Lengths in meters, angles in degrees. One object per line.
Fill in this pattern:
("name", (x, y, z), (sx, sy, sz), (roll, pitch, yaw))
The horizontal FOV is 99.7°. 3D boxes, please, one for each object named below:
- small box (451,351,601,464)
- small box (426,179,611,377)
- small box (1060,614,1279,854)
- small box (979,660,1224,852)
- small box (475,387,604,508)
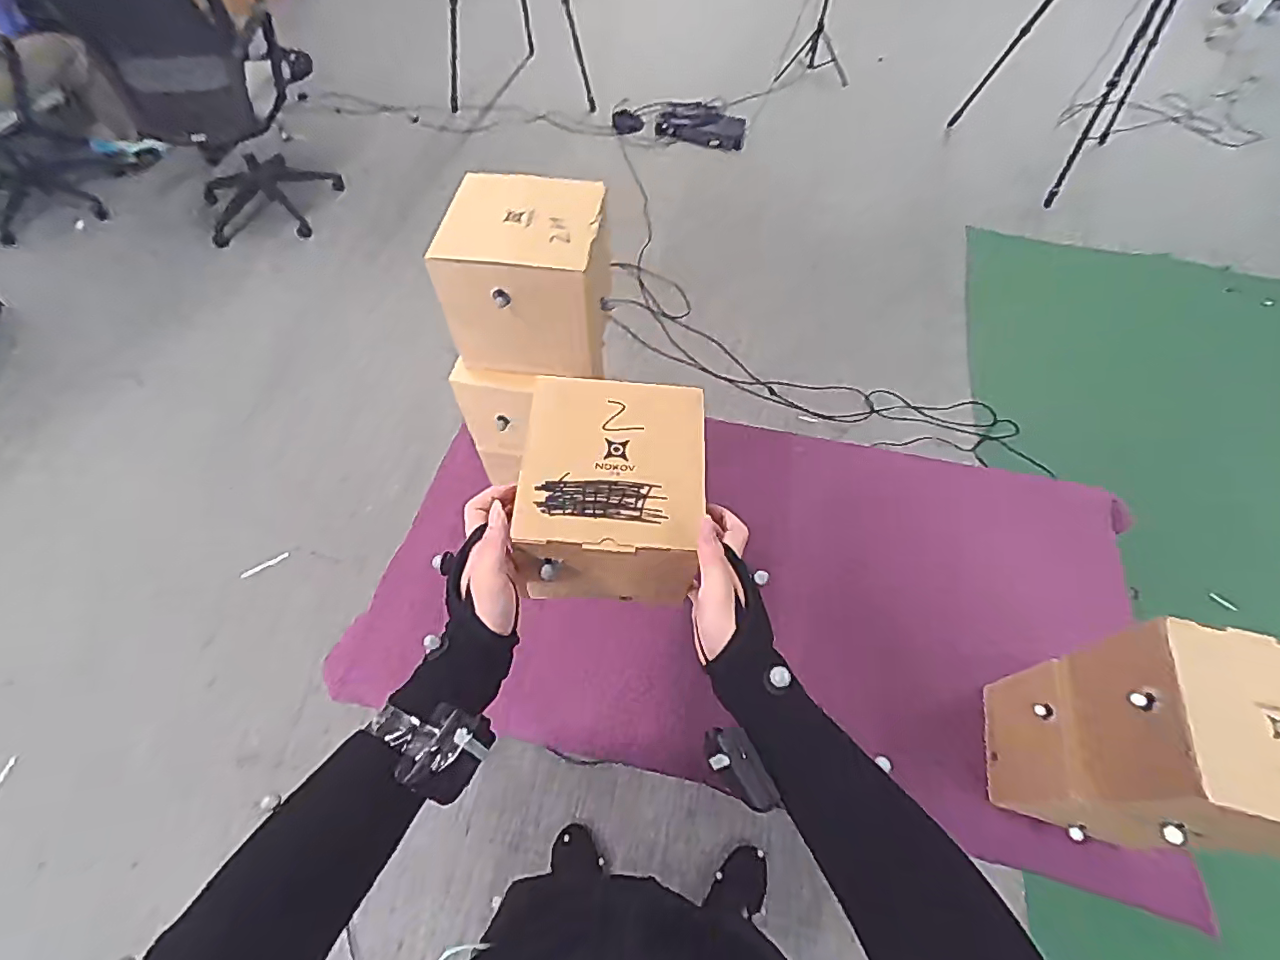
("small box", (-0.155, -0.144, 0.811), (0.168, 0.176, 0.179), (9, 59, 4))
("small box", (-0.136, -0.248, 0.683), (0.179, 0.176, 0.168), (6, 59, 2))
("small box", (0.587, 0.270, 0.572), (0.168, 0.176, 0.179), (14, 59, 9))
("small box", (0.581, 0.360, 0.709), (0.179, 0.176, 0.168), (15, 58, 8))
("small box", (-0.162, -0.065, 0.952), (0.179, 0.176, 0.168), (8, 59, 4))
